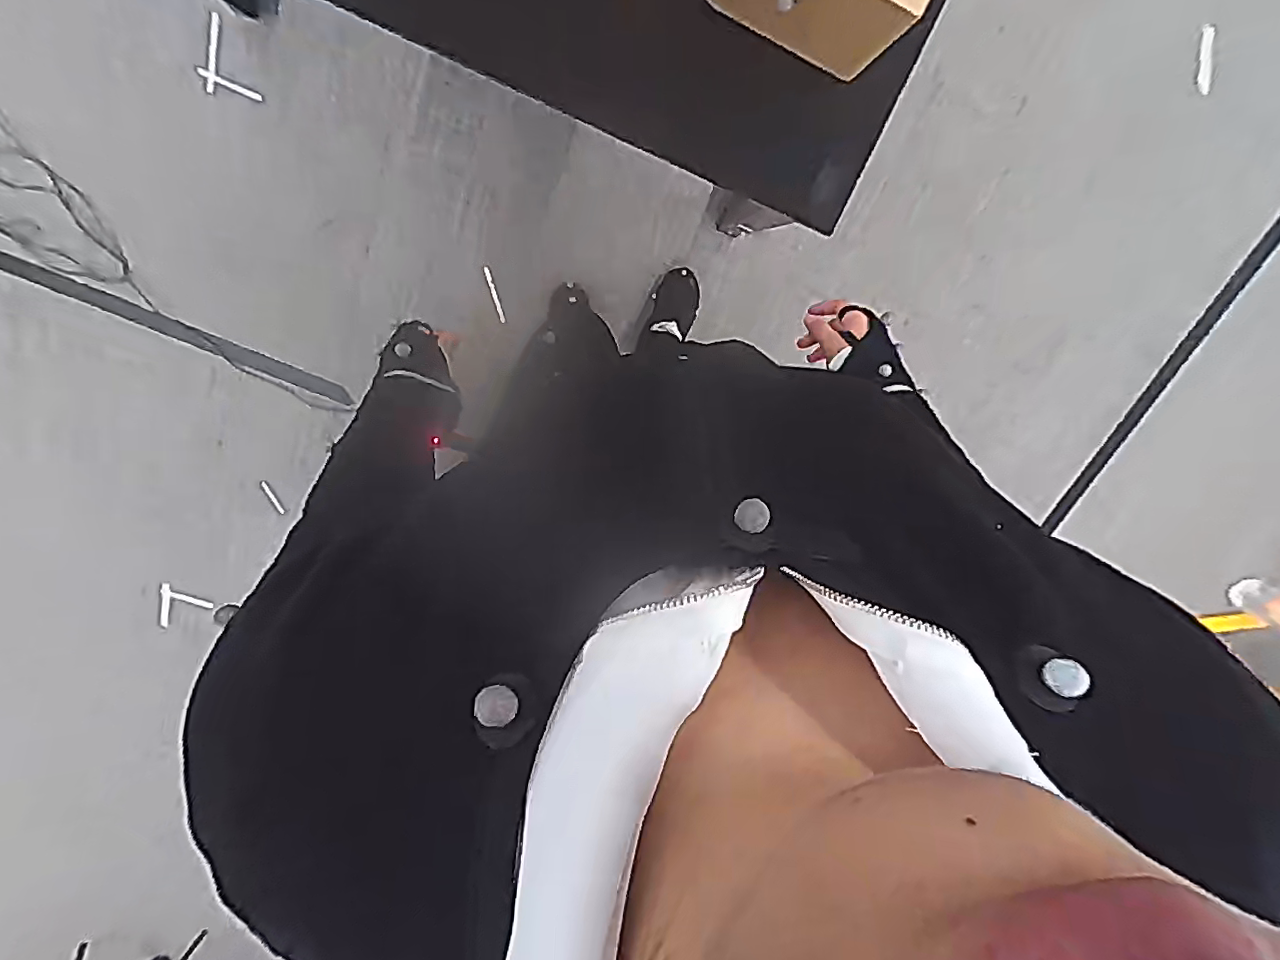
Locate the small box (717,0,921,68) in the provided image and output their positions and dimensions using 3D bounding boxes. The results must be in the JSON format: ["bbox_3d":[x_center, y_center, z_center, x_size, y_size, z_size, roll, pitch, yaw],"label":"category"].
[{"bbox_3d":[0.178,-0.508,0.474,0.179,0.176,0.168,22,110,-7],"label":"small box"}]
